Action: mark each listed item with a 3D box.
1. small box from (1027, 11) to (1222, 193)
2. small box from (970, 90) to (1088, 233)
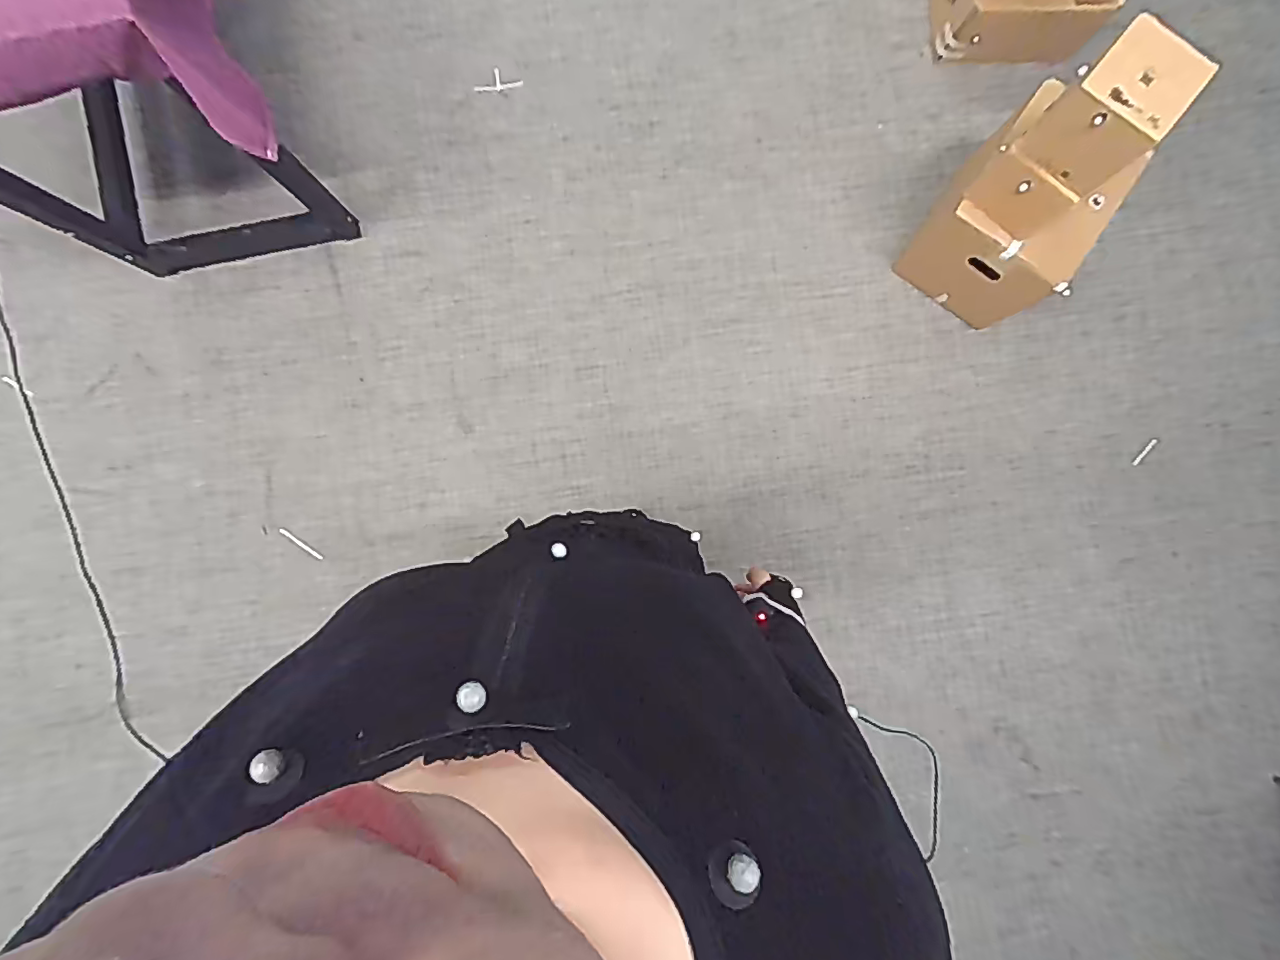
[{"bbox_3d":[0.876,-0.684,0.998,0.168,0.176,0.179,40,88,3],"label":"small box"},{"bbox_3d":[0.870,-0.667,1.162,0.179,0.176,0.168,44,89,3],"label":"small box"}]
